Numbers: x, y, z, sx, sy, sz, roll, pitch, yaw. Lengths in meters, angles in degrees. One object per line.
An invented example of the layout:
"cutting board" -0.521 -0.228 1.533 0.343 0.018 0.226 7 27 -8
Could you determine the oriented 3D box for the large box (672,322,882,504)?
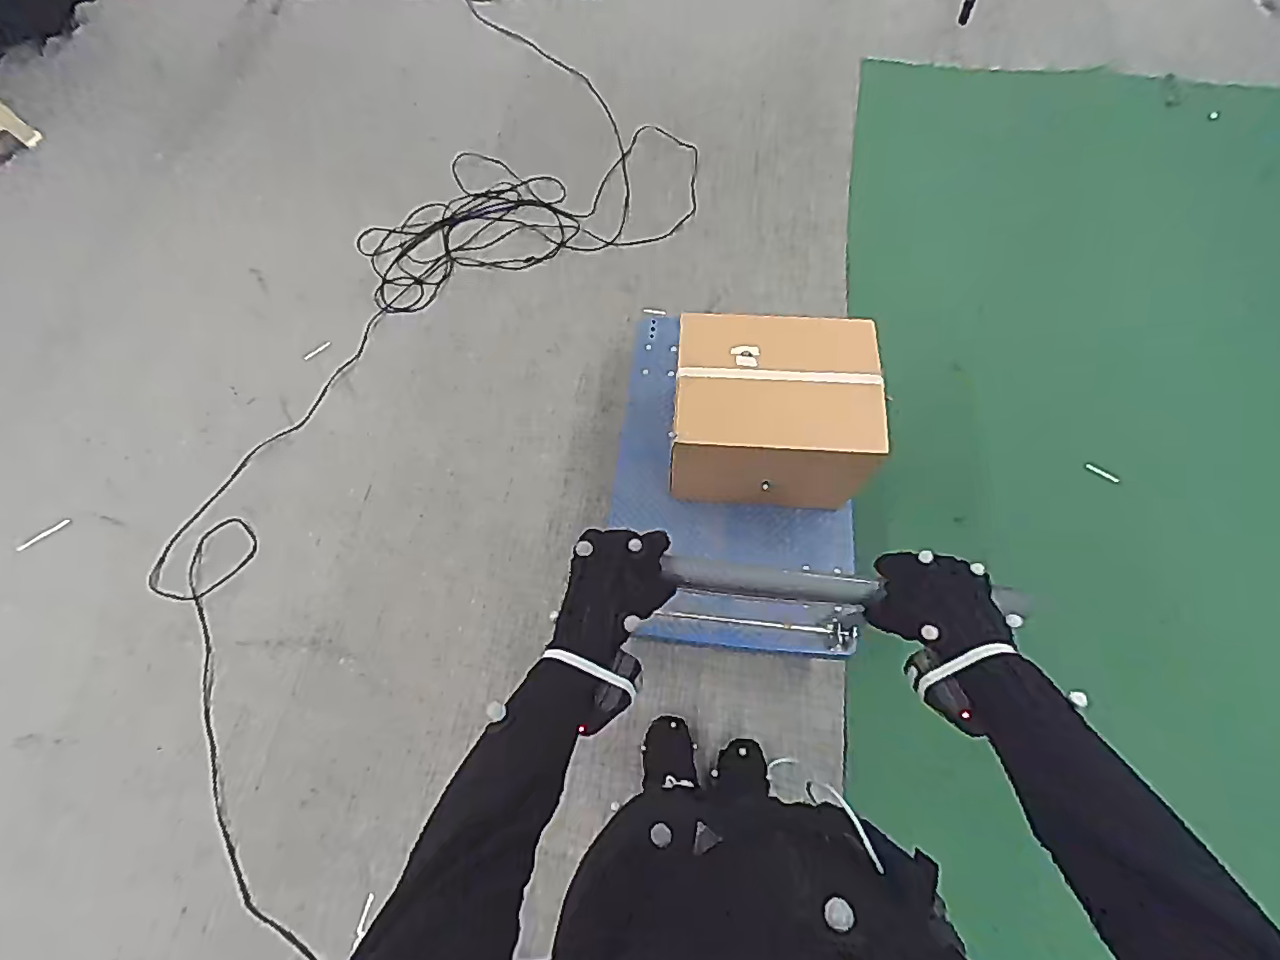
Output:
"large box" 0.280 -0.139 1.233 0.408 0.320 0.320 2 67 4
